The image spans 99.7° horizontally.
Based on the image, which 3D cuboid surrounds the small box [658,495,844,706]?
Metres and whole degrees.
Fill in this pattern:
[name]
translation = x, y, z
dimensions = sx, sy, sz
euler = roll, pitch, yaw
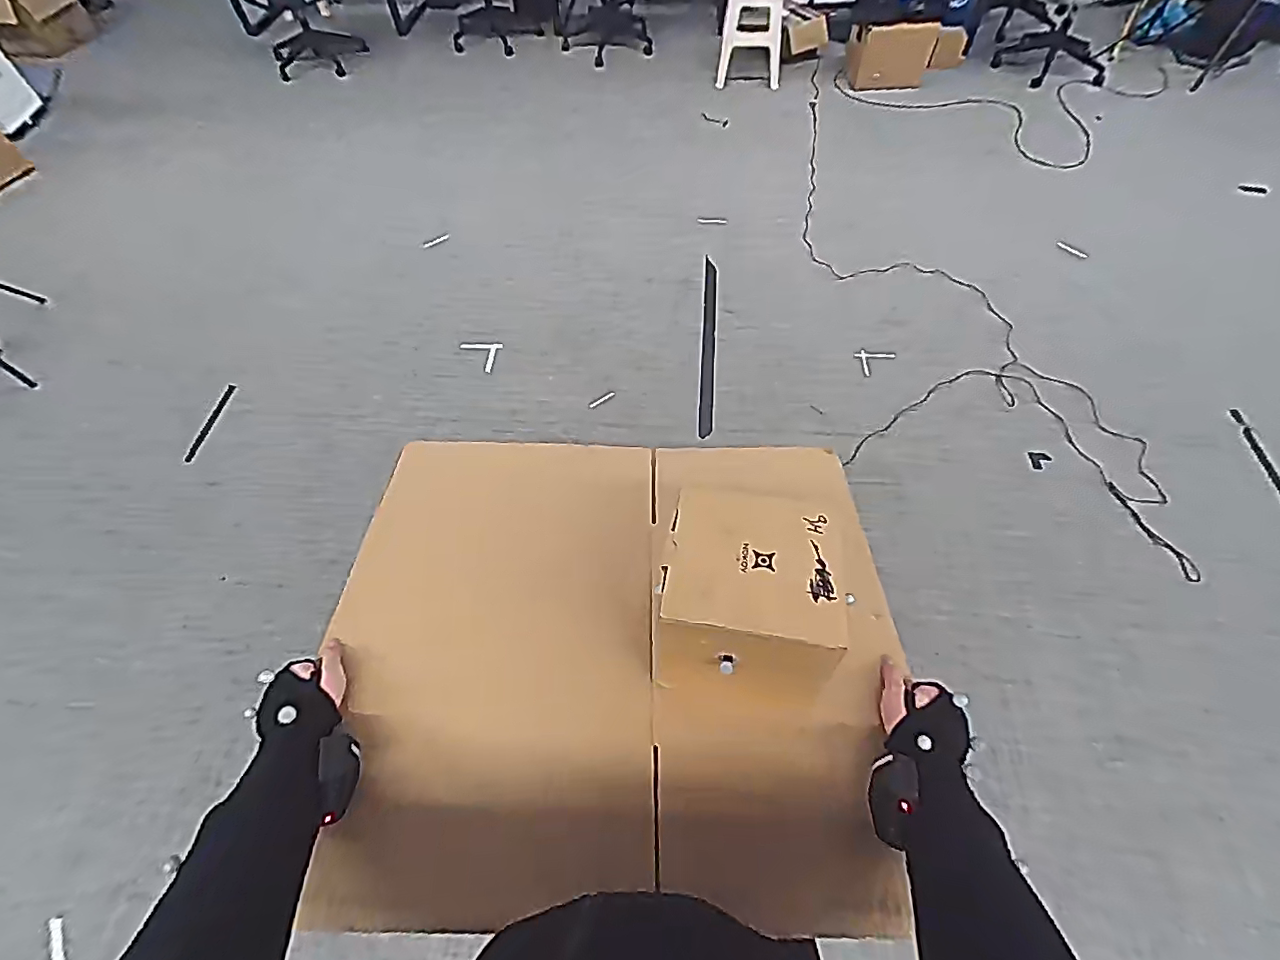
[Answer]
[small box]
translation = 0.120, 0.139, 0.615
dimensions = 0.179, 0.176, 0.168
euler = 6, 49, 9
